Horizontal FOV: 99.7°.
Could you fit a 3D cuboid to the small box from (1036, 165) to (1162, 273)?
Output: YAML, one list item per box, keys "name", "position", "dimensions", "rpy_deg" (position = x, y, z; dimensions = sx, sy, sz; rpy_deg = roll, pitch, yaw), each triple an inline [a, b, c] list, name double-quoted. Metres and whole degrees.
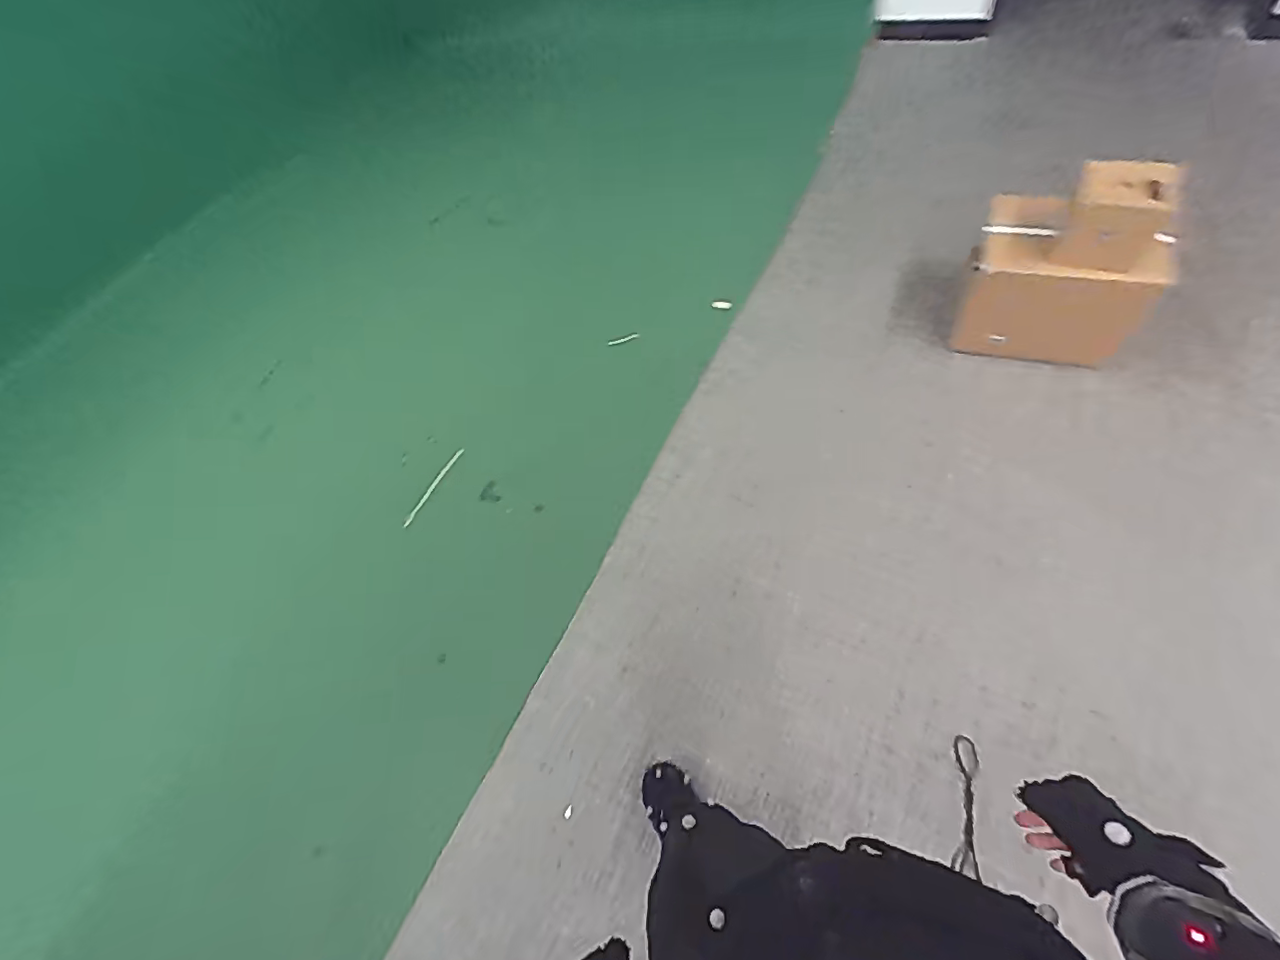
- name: "small box"
  position: [1.106, -0.630, 1.312]
  dimensions: [0.179, 0.176, 0.168]
  rpy_deg: [17, 66, 22]
